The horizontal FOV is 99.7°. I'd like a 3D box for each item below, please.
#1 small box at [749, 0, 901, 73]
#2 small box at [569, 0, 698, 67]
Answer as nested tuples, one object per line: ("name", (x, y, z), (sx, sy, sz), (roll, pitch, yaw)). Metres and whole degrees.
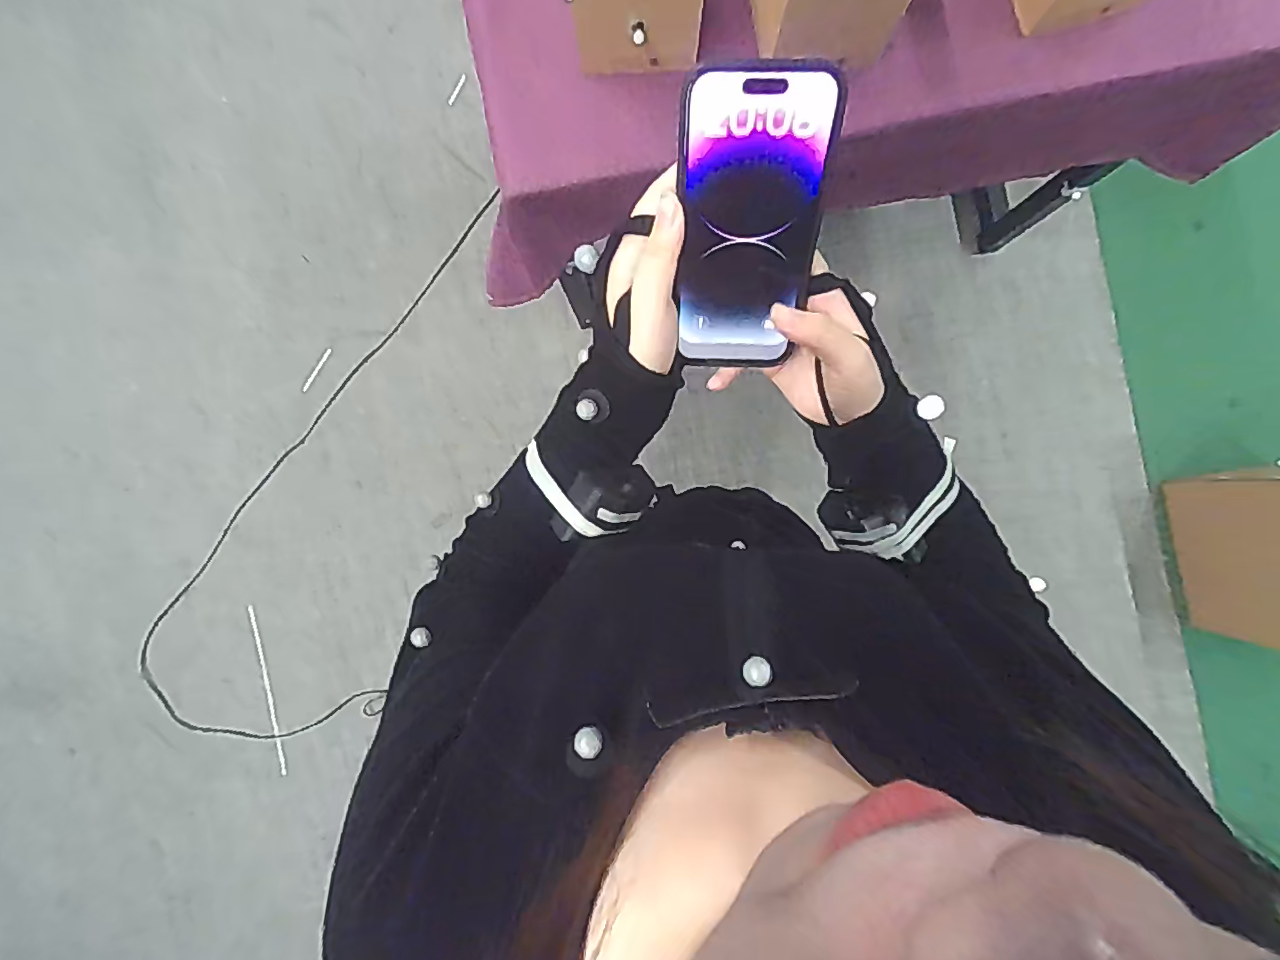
("small box", (0.241, -0.669, 0.698), (0.168, 0.176, 0.179), (-10, 88, 1))
("small box", (-0.009, -0.678, 0.704), (0.168, 0.176, 0.179), (-3, 90, 1))
